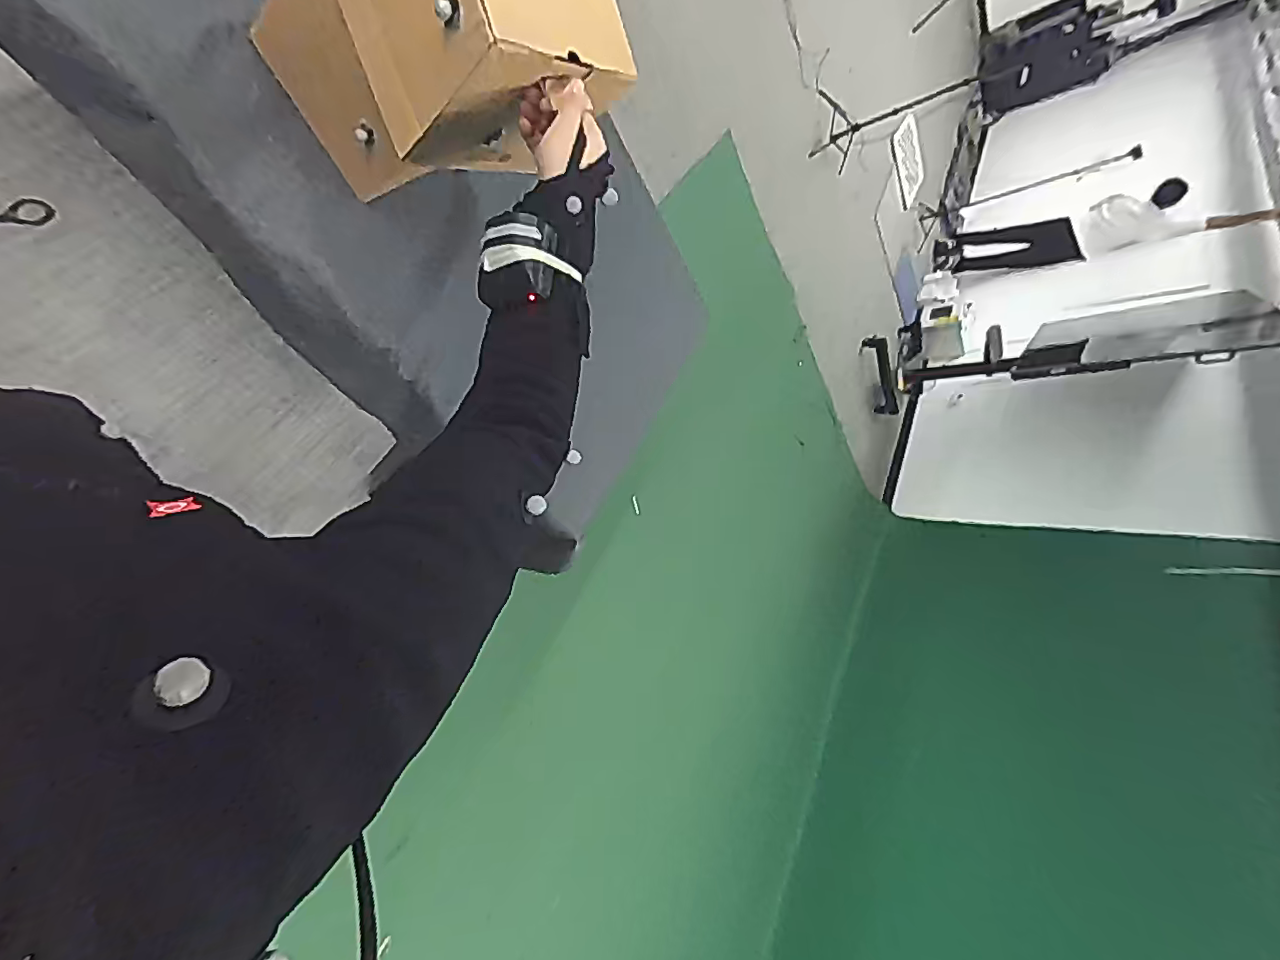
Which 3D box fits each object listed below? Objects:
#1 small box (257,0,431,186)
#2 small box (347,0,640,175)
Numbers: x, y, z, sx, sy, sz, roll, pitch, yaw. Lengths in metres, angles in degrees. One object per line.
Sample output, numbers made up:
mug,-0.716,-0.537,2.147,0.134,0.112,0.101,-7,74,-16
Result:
small box,-0.266,-0.452,0.595,0.168,0.176,0.179,-54,128,-35
small box,-0.135,-0.406,0.480,0.168,0.176,0.179,-29,104,-45
